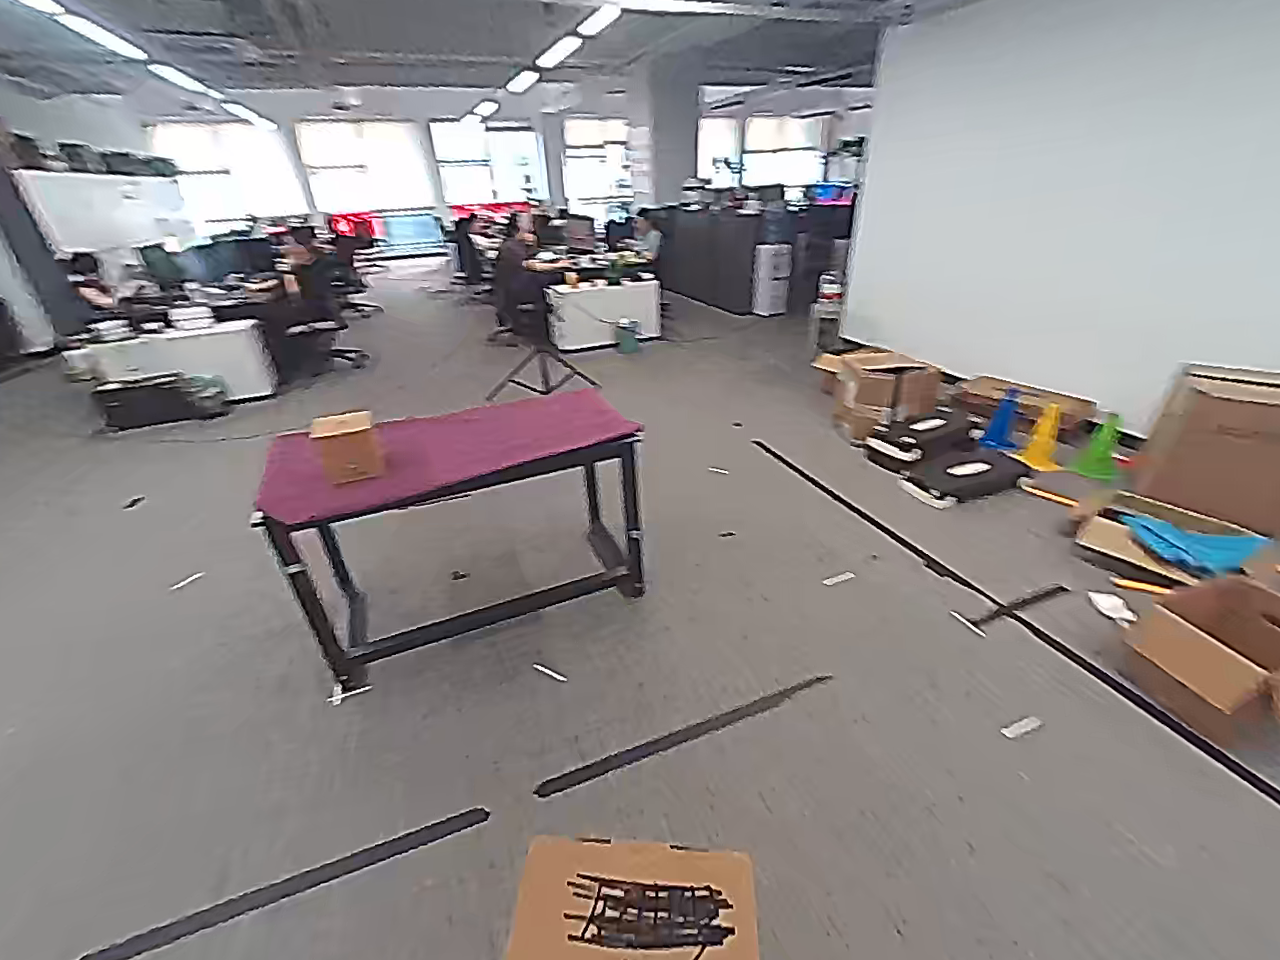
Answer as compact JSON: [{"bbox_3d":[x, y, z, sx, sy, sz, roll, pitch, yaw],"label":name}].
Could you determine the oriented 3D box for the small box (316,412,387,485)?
[{"bbox_3d":[-0.936,-0.104,1.762,0.168,0.176,0.179,-14,31,-21],"label":"small box"}]
